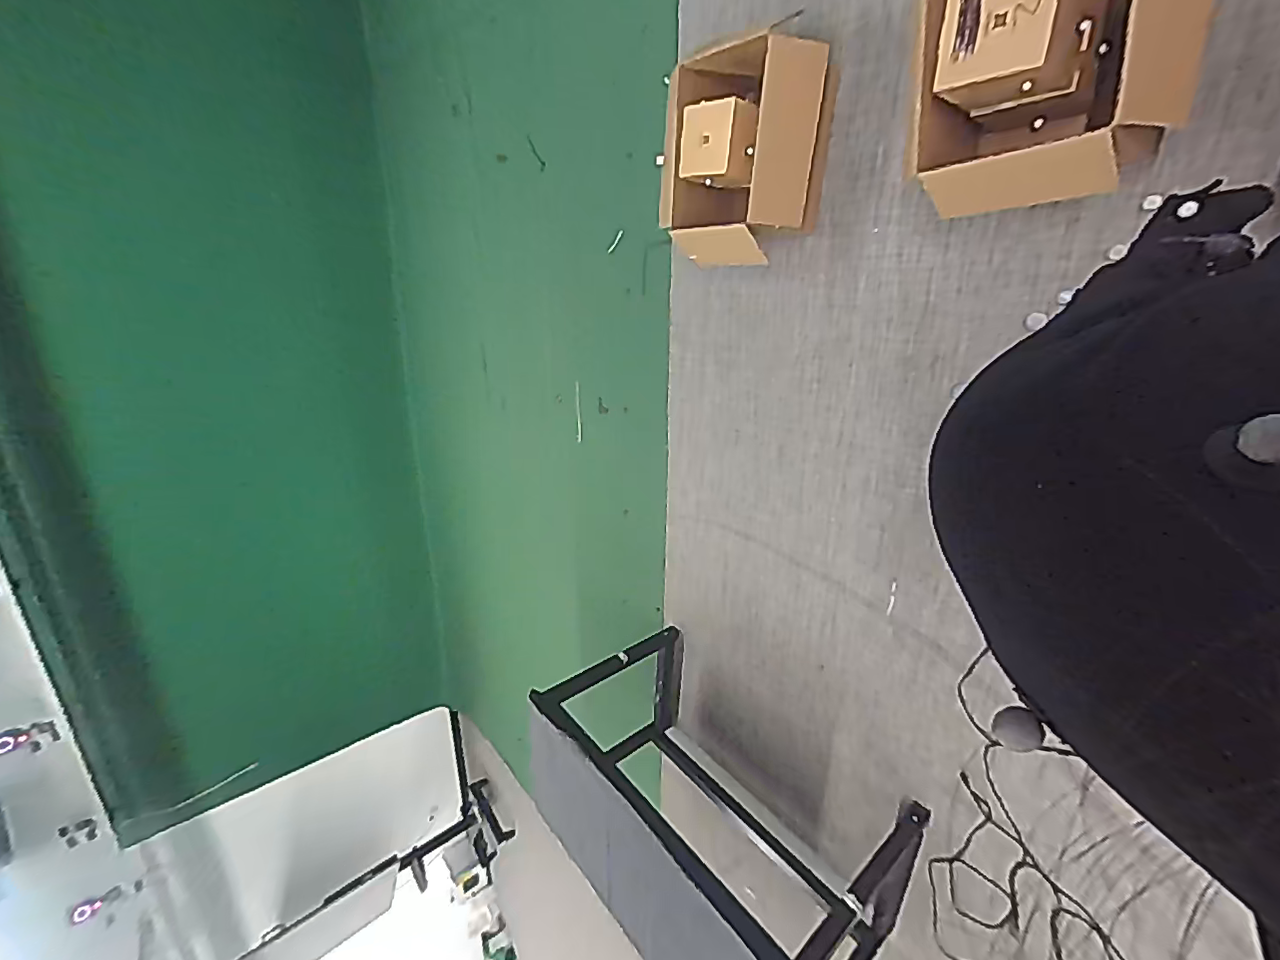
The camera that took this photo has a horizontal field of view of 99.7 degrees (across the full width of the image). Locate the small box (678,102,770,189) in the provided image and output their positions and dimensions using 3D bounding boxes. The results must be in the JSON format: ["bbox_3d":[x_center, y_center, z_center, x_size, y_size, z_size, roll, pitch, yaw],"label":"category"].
[{"bbox_3d":[0.225,-0.887,1.446,0.179,0.176,0.168,25,119,43],"label":"small box"}]
